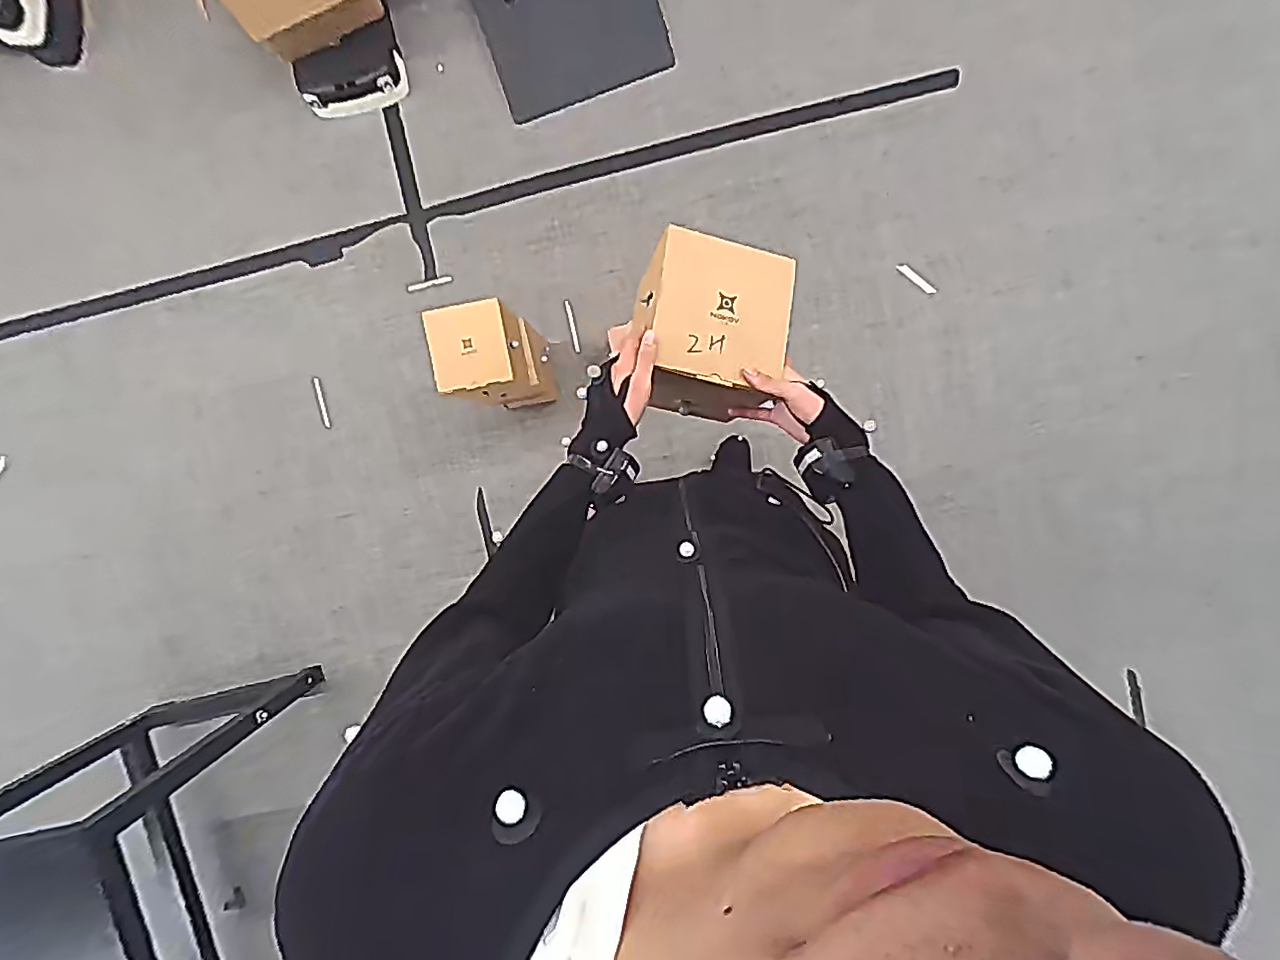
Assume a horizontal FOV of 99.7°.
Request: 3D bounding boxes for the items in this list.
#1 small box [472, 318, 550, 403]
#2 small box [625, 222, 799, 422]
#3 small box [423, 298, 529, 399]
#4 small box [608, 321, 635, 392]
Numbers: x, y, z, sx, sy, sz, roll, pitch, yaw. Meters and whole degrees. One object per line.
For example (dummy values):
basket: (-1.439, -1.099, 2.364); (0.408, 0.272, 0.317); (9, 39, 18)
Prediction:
small box: (-0.343, -0.295, 1.369); (0.179, 0.176, 0.168); (-13, 94, 1)
small box: (0.083, -0.189, 0.701); (0.168, 0.176, 0.179); (11, 82, -11)
small box: (-0.358, -0.286, 1.207); (0.168, 0.176, 0.179); (-11, 95, 2)
small box: (0.013, -0.347, 1.524); (0.168, 0.176, 0.179); (-14, 95, 4)
